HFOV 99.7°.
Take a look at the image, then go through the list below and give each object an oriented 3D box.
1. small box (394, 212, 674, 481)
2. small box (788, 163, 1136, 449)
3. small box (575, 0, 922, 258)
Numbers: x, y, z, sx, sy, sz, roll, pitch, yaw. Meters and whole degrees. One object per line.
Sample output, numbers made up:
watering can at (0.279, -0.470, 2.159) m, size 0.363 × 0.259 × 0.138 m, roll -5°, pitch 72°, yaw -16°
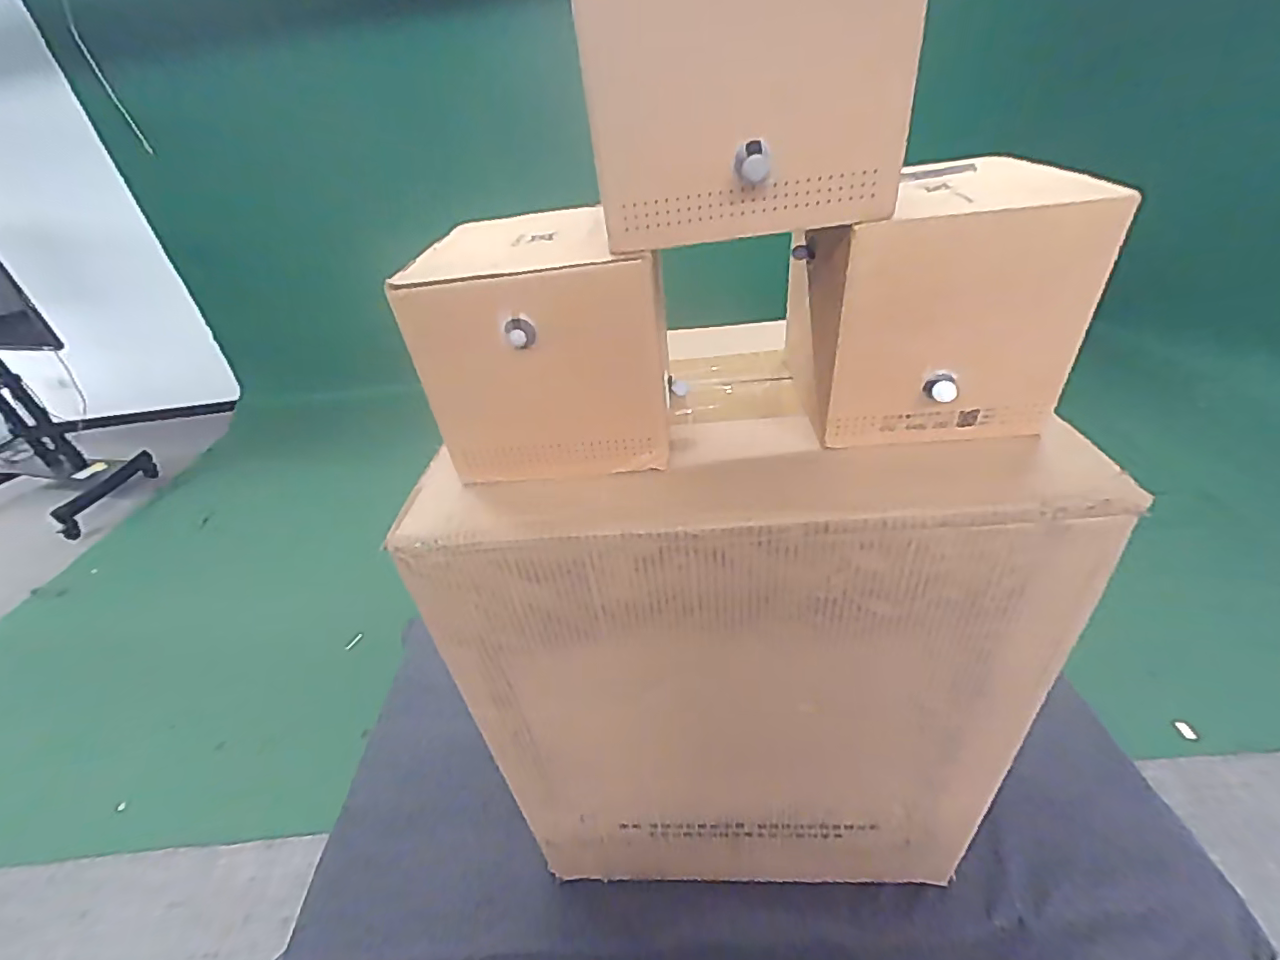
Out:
small box at (-0.064, -0.111, 0.452) m, size 0.179 × 0.176 × 0.168 m, roll -3°, pitch 38°, yaw 4°
small box at (0.220, -0.142, 0.437) m, size 0.168 × 0.176 × 0.179 m, roll -3°, pitch 38°, yaw 5°
small box at (0.057, -0.257, 0.346) m, size 0.179 × 0.176 × 0.168 m, roll -6°, pitch 38°, yaw 2°
